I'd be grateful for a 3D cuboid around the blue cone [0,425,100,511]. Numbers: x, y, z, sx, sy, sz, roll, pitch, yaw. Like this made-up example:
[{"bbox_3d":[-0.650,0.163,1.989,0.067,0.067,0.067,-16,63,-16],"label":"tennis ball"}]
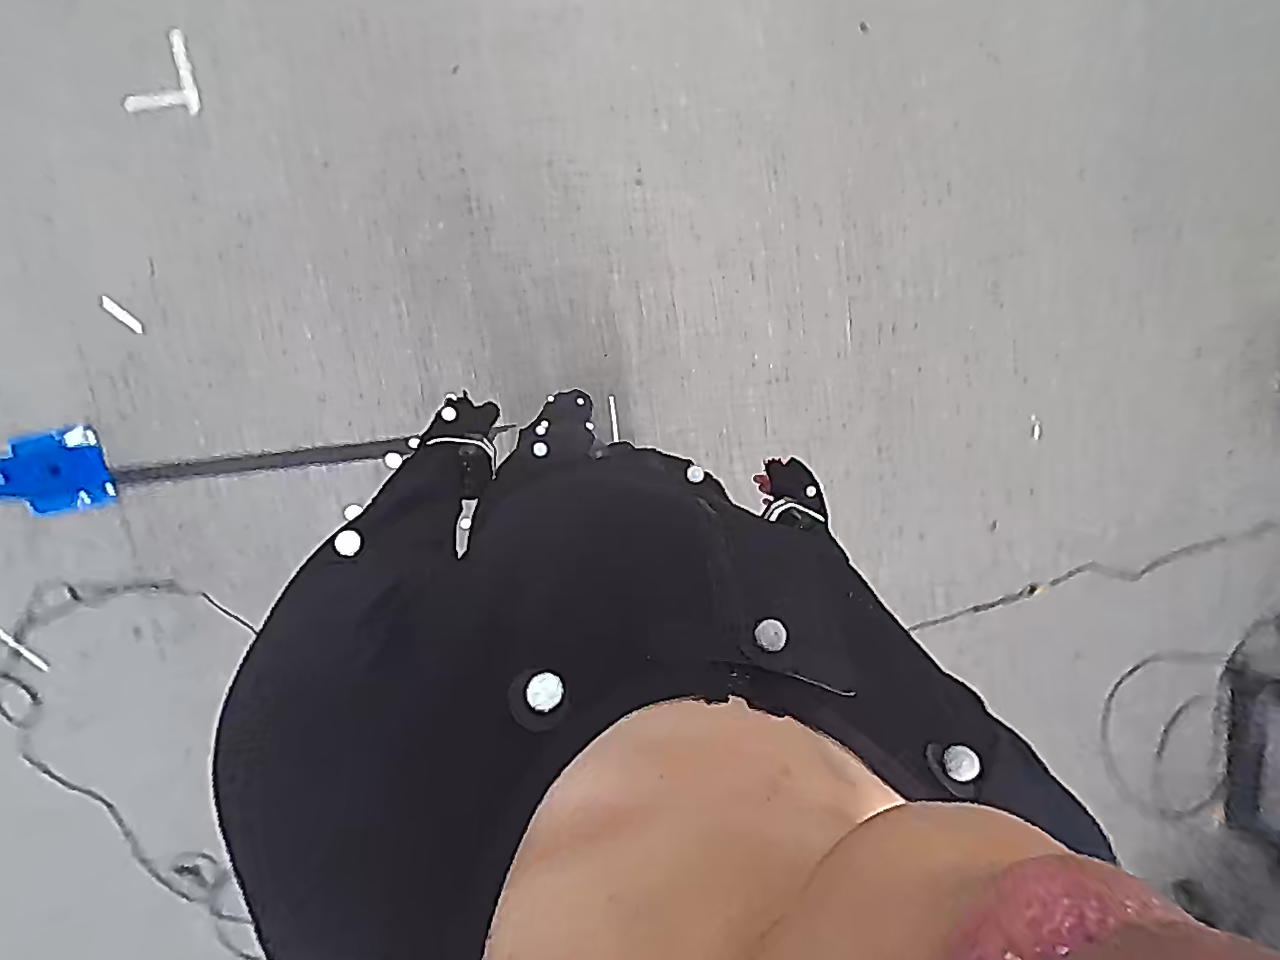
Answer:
[{"bbox_3d":[-1.421,-0.009,1.161,0.193,0.380,0.192,-11,97,-5],"label":"blue cone"}]
